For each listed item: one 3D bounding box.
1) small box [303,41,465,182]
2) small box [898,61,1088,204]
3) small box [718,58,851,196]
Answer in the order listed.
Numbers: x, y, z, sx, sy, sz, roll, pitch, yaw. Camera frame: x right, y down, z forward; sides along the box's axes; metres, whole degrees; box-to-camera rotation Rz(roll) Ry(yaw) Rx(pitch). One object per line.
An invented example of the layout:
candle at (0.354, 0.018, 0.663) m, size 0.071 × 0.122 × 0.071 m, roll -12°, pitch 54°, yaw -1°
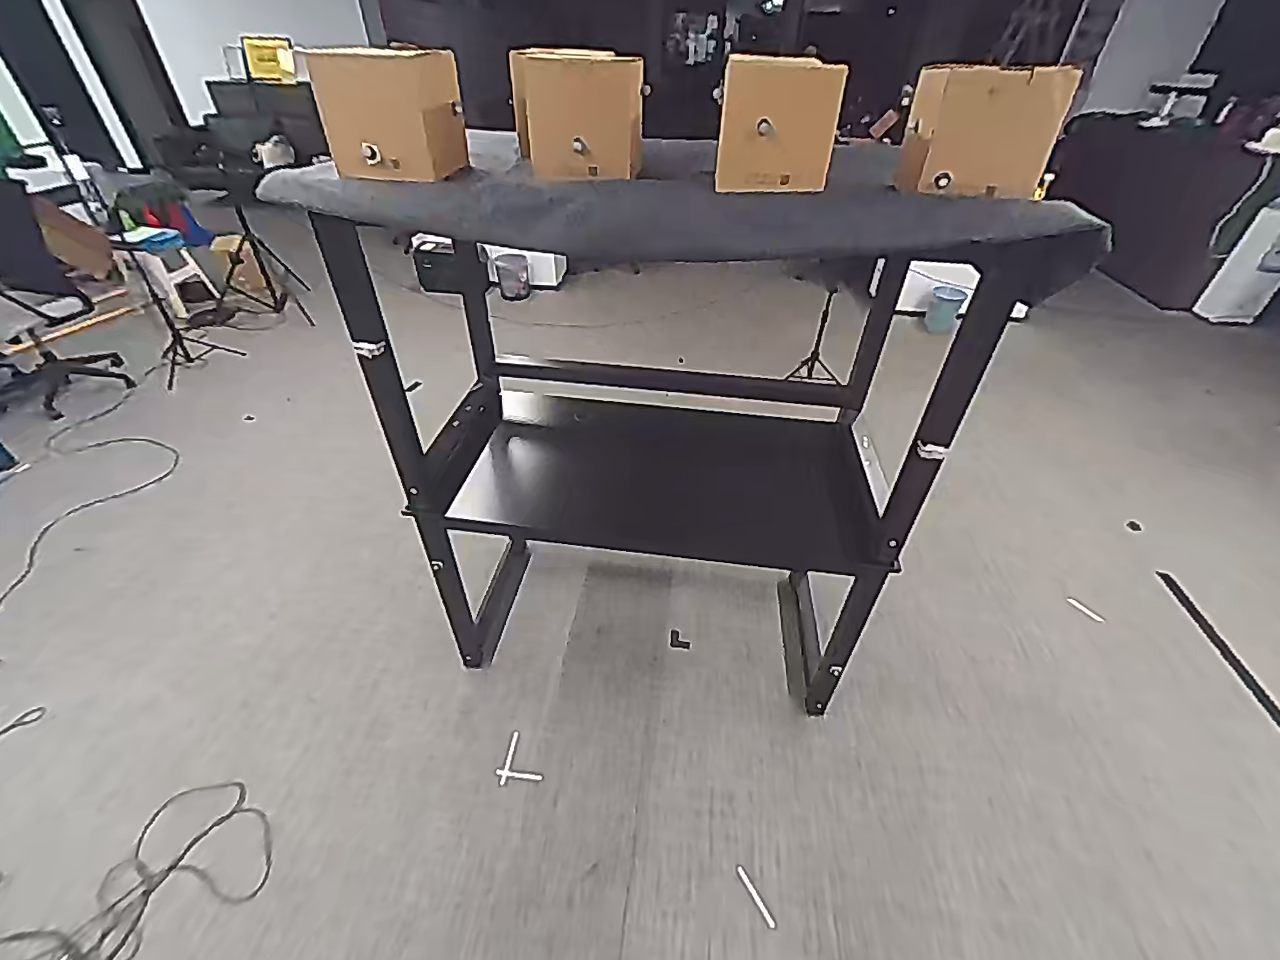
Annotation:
small box at (-0.397, -0.599, 0.879) m, size 0.168 × 0.176 × 0.179 m, roll 4°, pitch 39°, yaw 3°
small box at (0.513, -0.526, 0.819) m, size 0.168 × 0.176 × 0.179 m, roll 7°, pitch 36°, yaw 7°
small box at (0.214, -0.554, 0.850) m, size 0.168 × 0.176 × 0.179 m, roll 5°, pitch 37°, yaw 4°
